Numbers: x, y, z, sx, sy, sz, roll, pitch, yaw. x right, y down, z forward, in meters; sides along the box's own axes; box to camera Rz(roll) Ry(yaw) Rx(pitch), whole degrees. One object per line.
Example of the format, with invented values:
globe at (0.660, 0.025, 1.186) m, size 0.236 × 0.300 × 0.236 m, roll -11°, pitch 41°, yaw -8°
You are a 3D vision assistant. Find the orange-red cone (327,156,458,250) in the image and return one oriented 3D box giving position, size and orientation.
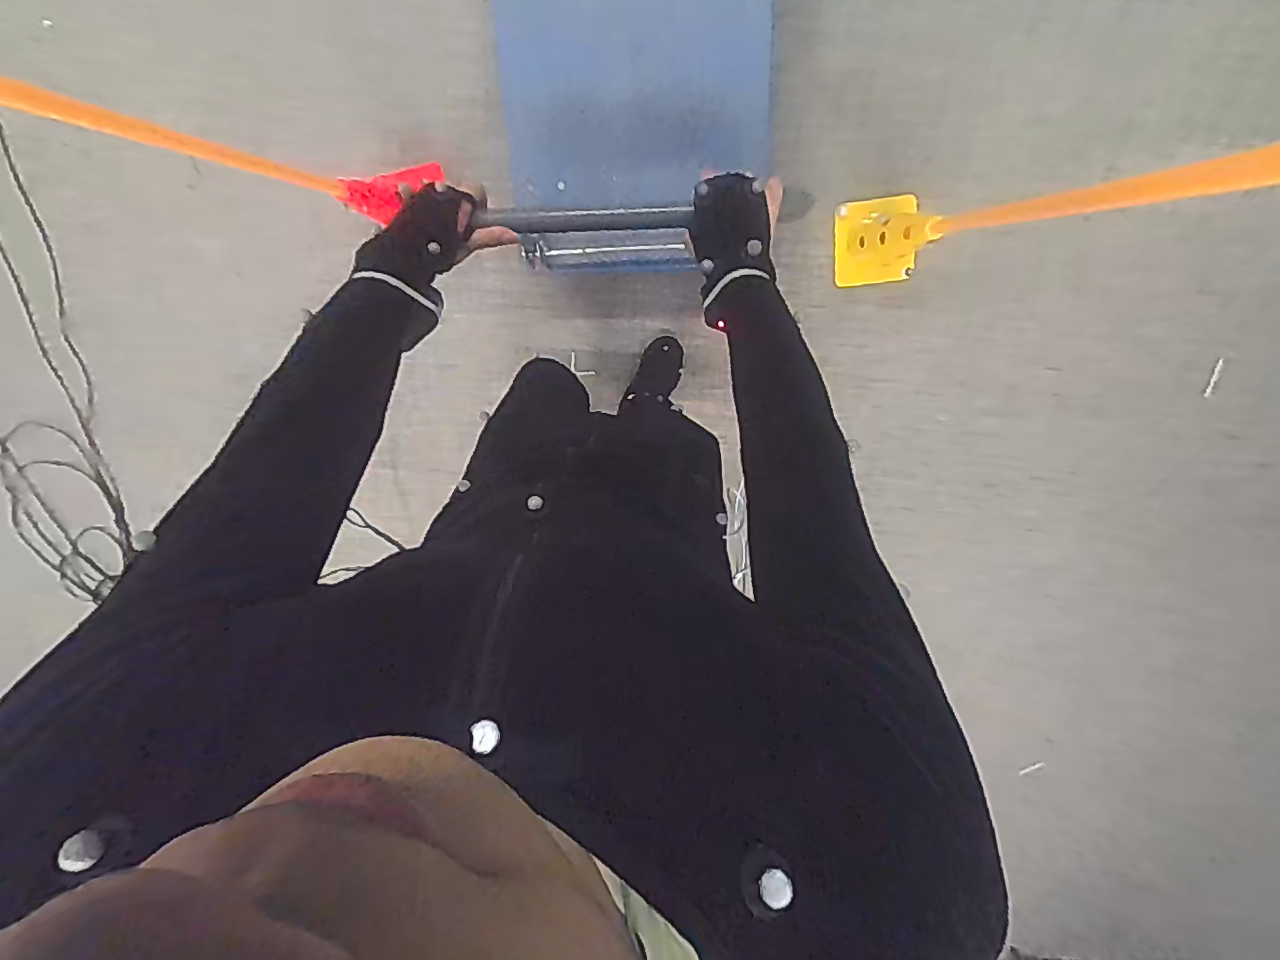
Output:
orange-red cone at (-0.593, -0.651, 1.234) m, size 0.199 × 0.360 × 0.198 m, roll -9°, pitch 109°, yaw 8°
